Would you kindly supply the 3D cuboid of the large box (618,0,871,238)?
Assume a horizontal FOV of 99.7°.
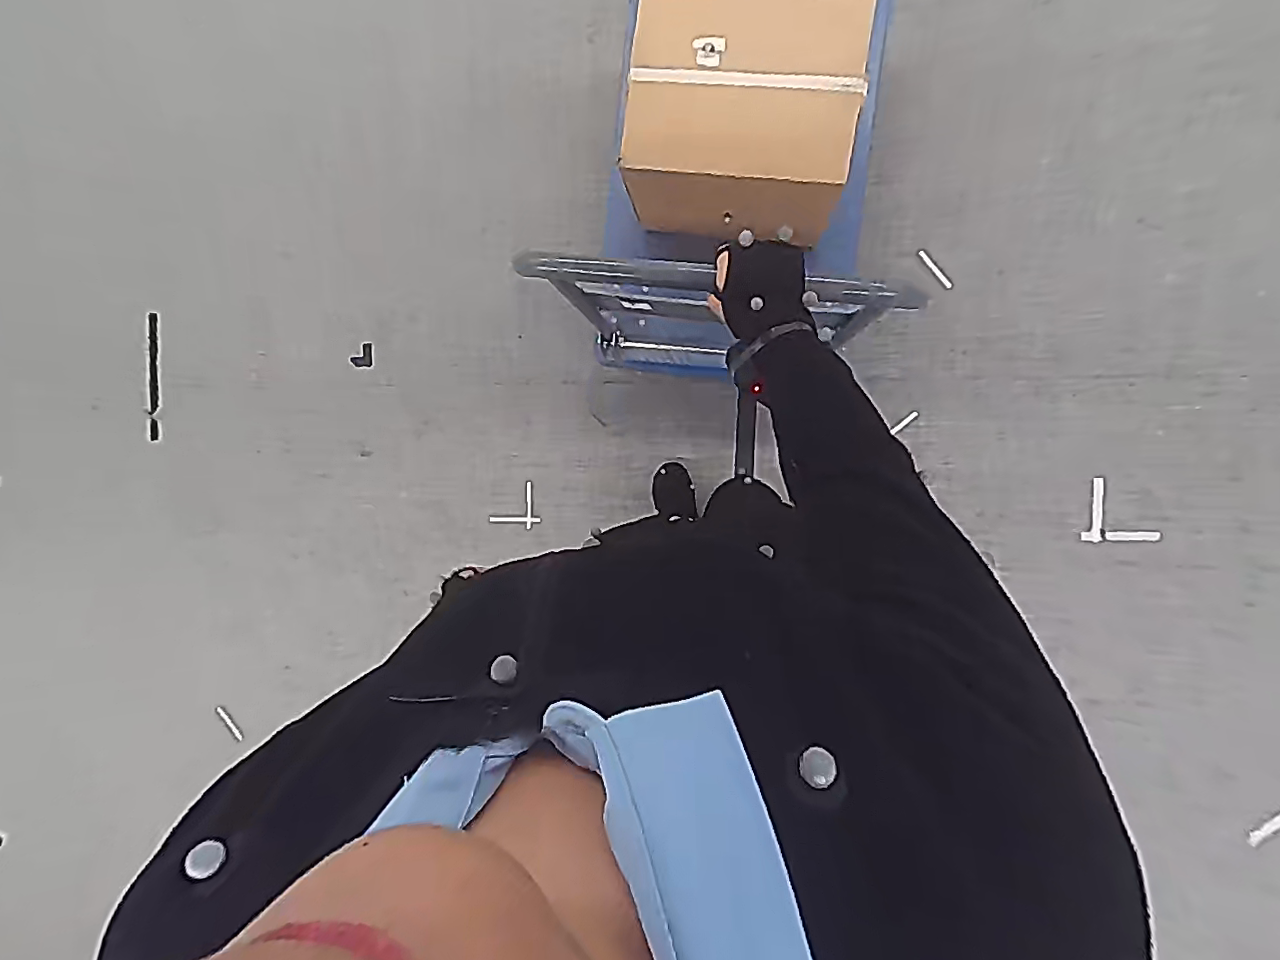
[{"bbox_3d":[0.197,-0.700,1.075,0.408,0.320,0.320,9,94,9],"label":"large box"}]
